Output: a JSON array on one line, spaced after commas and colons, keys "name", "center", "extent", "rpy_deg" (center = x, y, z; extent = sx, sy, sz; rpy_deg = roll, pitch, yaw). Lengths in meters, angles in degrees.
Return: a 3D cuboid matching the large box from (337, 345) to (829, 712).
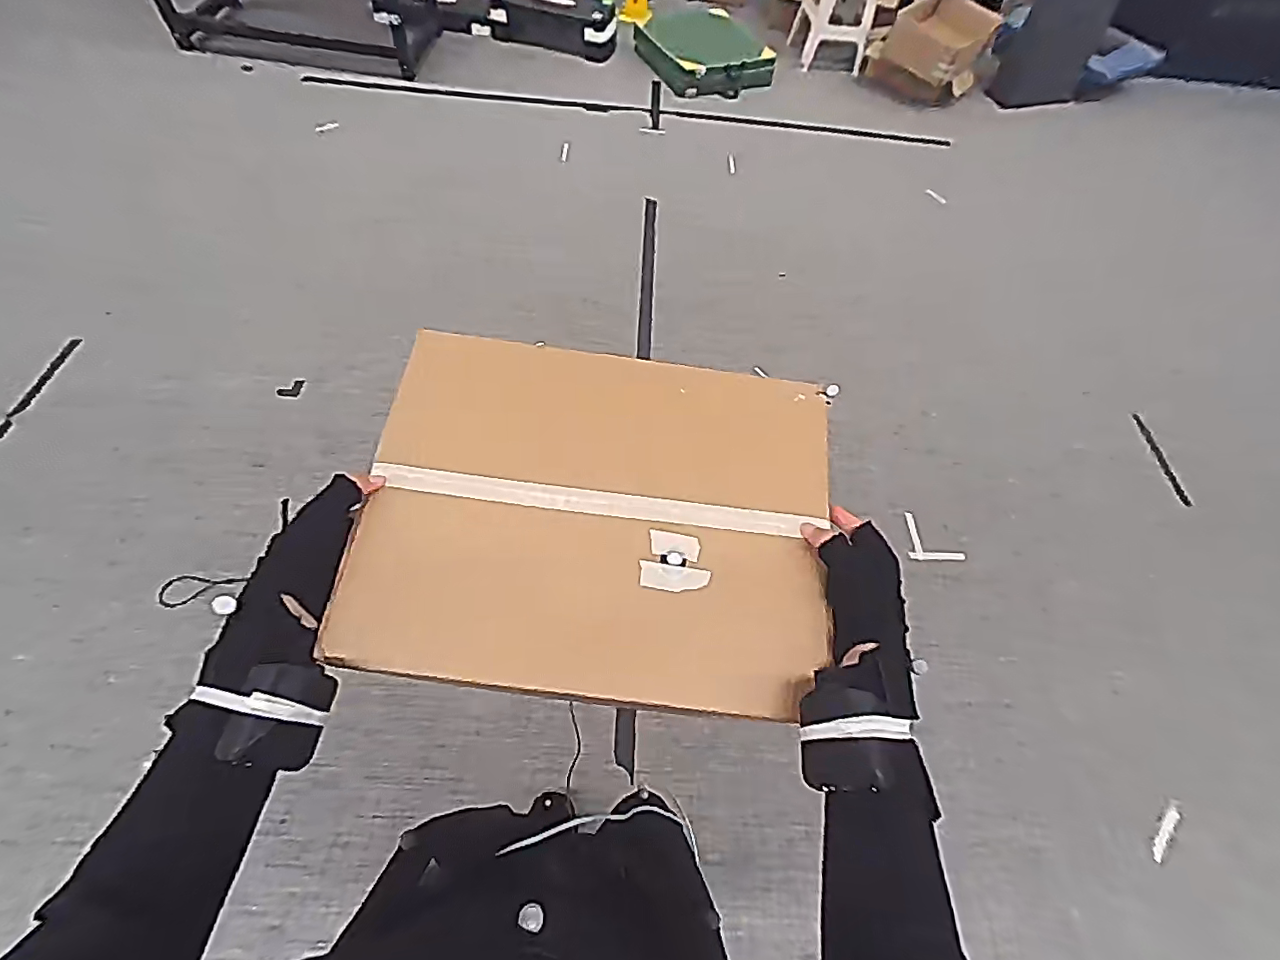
[{"name": "large box", "center": [-0.043, 0.083, 0.624], "extent": [0.408, 0.320, 0.320], "rpy_deg": [8, 68, -3]}]
